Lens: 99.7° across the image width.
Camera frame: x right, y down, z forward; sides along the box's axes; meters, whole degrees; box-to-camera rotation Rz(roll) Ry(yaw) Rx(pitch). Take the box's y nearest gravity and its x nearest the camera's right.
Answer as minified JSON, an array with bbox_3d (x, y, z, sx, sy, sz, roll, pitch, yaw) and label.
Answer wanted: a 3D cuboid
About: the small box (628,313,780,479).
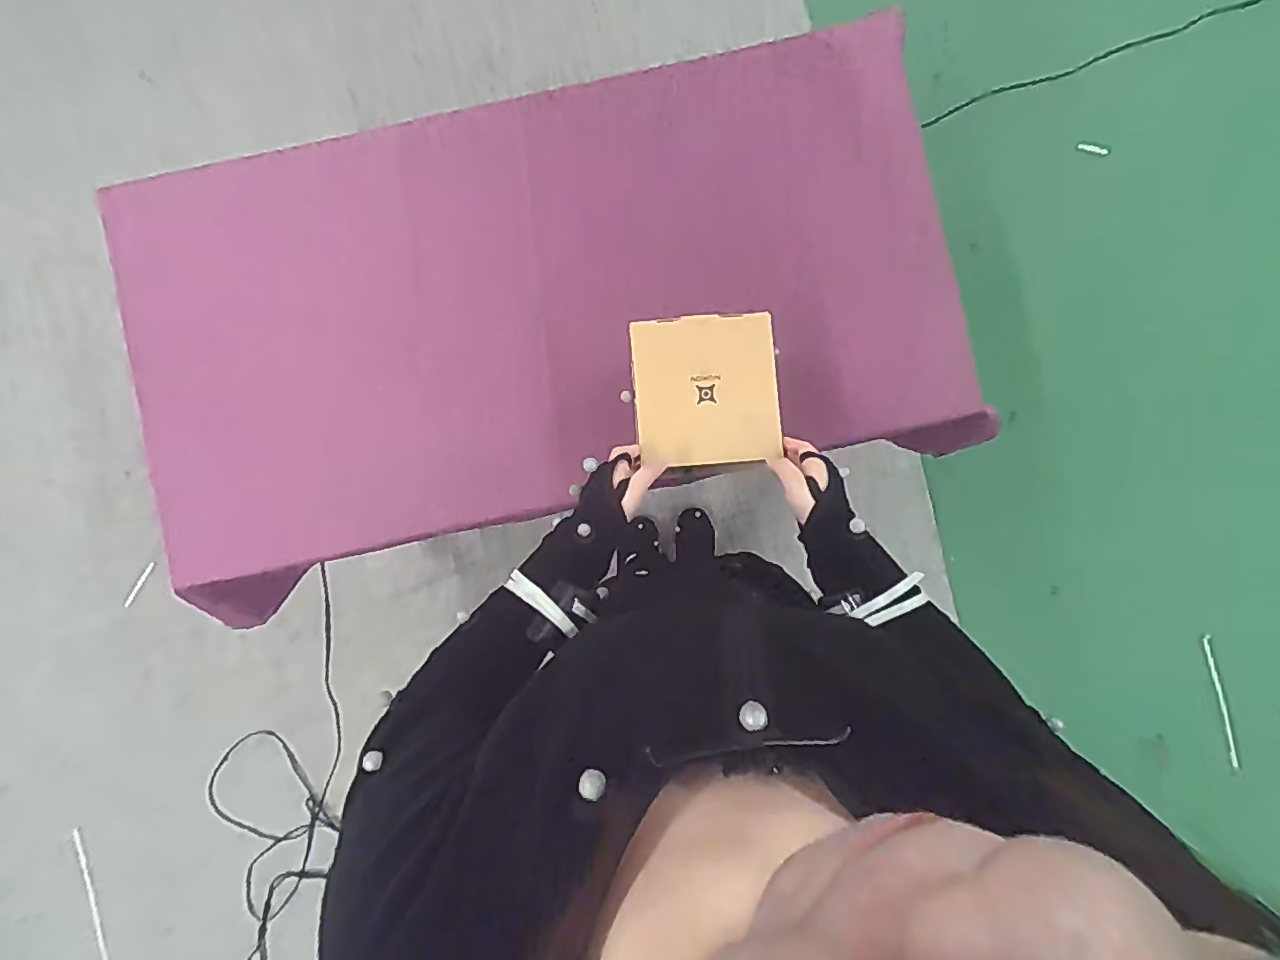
[{"bbox_3d":[0.076,-0.095,0.699,0.168,0.176,0.179,-4,84,1],"label":"small box"}]
